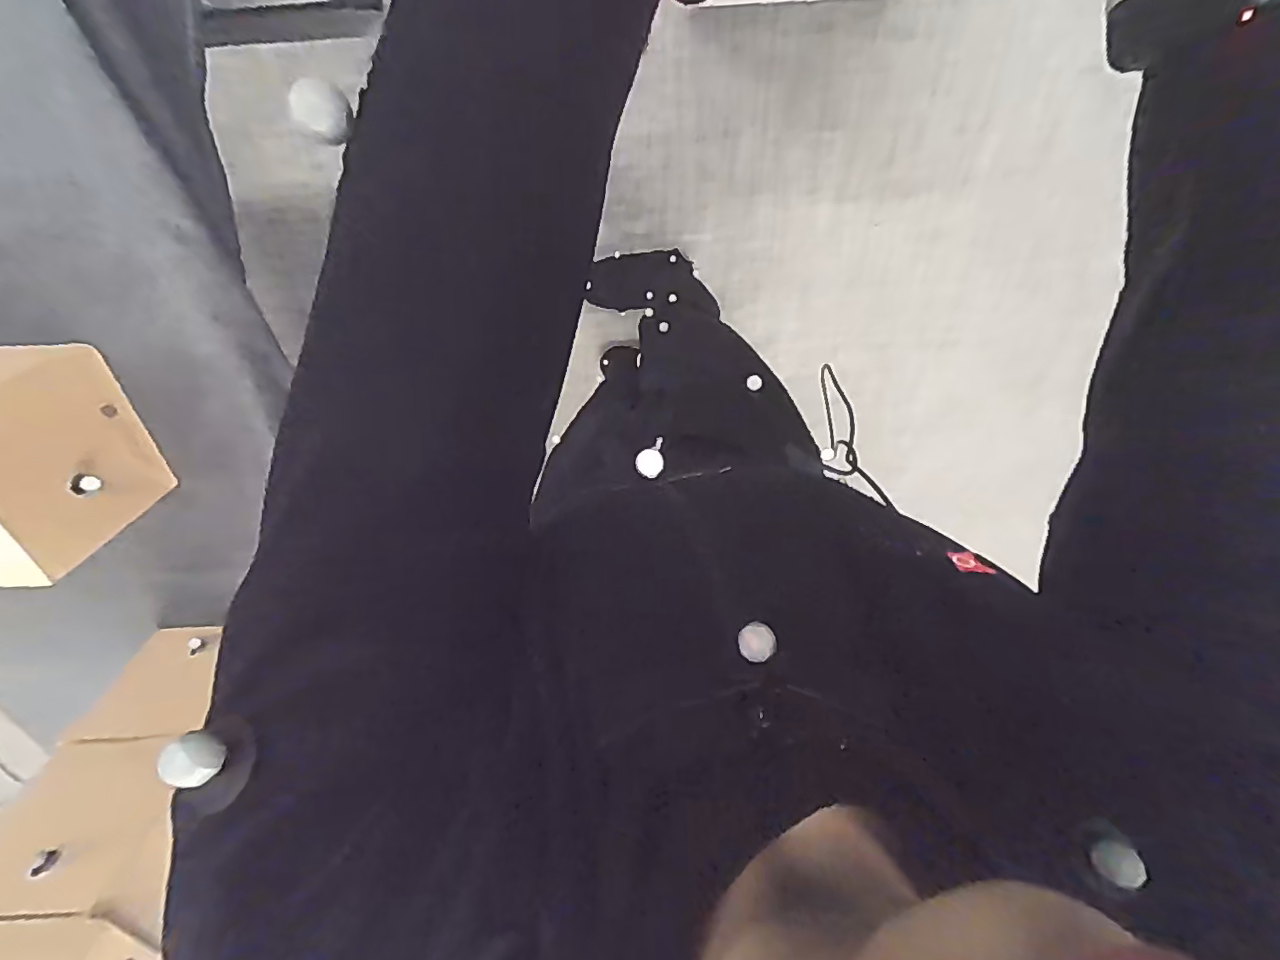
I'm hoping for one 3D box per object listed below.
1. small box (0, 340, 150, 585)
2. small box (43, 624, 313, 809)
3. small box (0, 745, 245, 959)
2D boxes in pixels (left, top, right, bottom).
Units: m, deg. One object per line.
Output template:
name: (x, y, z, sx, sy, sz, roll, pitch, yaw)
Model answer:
small box: (-0.610, -0.021, 0.492, 0.179, 0.176, 0.168, -1, 124, 0)
small box: (-0.582, 0.309, 0.713, 0.179, 0.176, 0.168, -3, 124, 2)
small box: (-0.572, 0.405, 0.580, 0.179, 0.176, 0.168, -3, 123, 1)
